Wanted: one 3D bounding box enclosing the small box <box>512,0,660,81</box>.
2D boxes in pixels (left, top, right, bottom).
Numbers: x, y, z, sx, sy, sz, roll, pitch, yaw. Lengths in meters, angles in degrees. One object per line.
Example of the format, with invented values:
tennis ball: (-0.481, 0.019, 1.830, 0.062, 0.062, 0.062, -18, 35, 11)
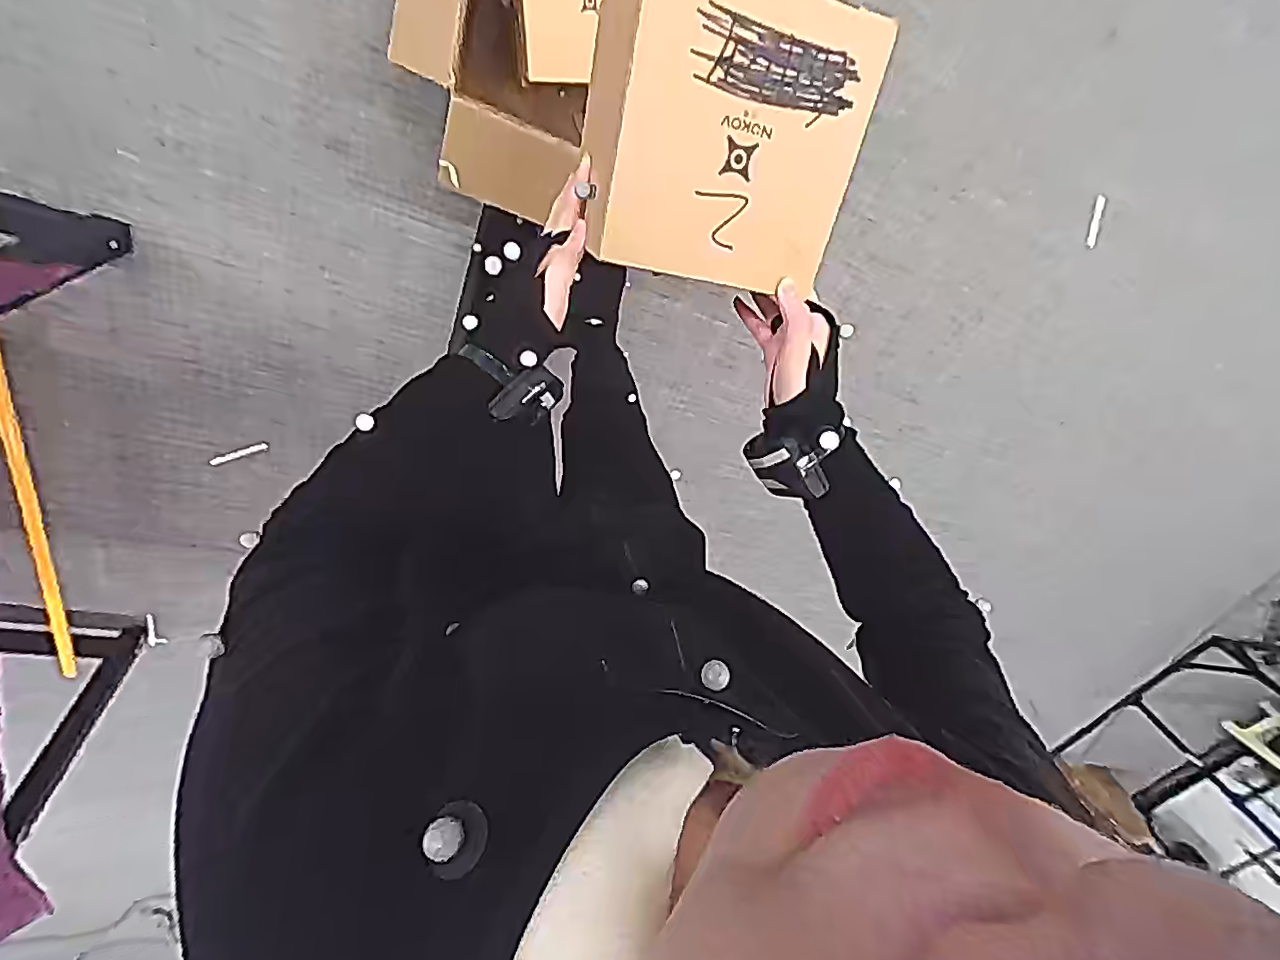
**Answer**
small box: (-0.079, -0.641, 0.721, 0.179, 0.176, 0.168, -8, 130, -14)
